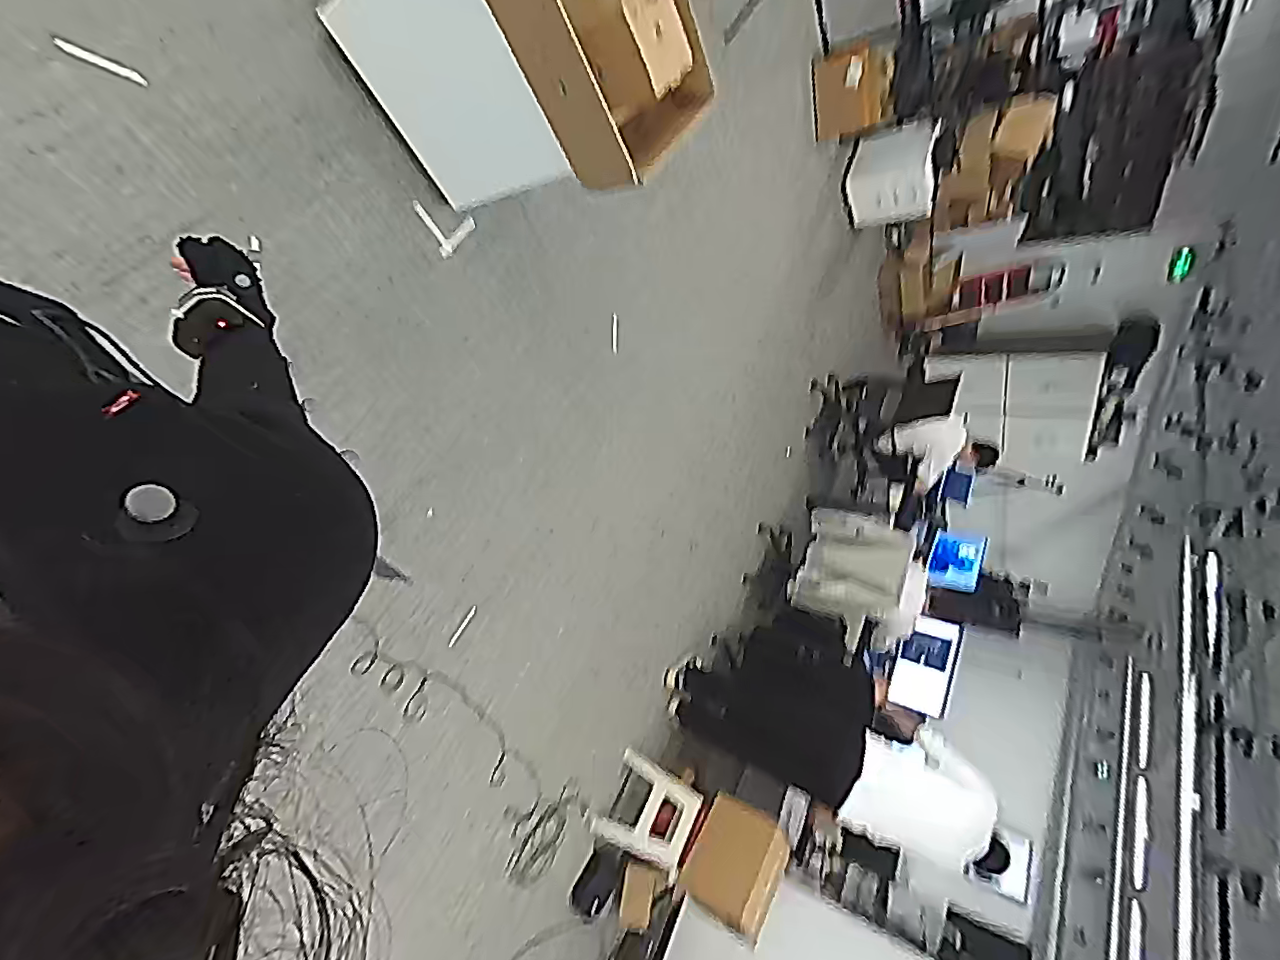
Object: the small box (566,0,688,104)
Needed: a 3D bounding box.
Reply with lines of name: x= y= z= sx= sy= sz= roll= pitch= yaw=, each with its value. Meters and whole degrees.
small box: x=-0.029 y=-0.970 z=1.196 sx=0.168 sy=0.176 sz=0.179 roll=-56 pitch=136 yaw=-22
